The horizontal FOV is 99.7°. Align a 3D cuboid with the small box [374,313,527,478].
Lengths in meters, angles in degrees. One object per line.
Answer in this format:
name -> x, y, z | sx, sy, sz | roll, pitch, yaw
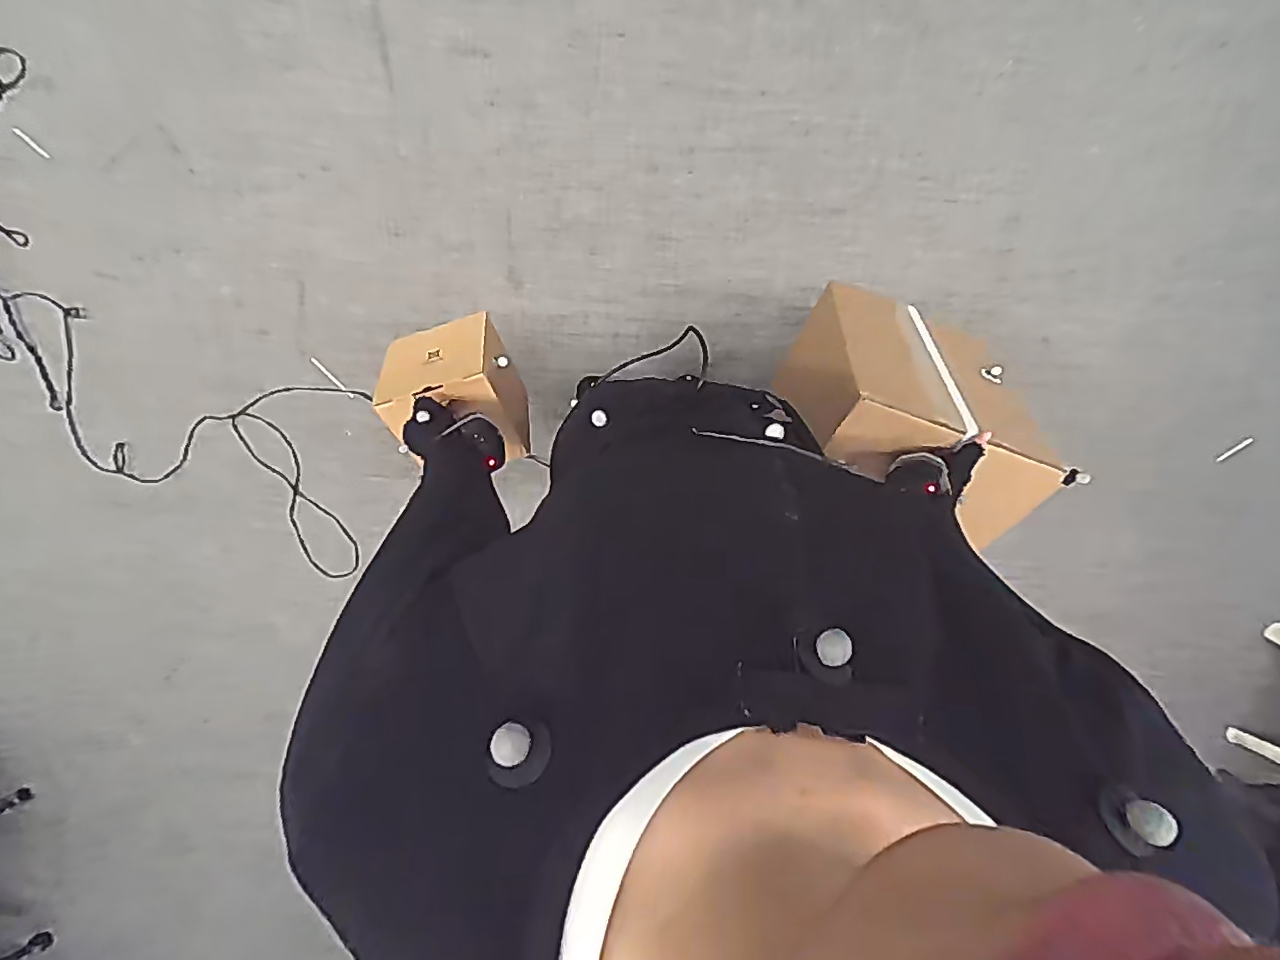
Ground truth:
small box -> -0.289, -0.133, 0.865 | 0.168, 0.179, 0.176 | -17, 137, 3
